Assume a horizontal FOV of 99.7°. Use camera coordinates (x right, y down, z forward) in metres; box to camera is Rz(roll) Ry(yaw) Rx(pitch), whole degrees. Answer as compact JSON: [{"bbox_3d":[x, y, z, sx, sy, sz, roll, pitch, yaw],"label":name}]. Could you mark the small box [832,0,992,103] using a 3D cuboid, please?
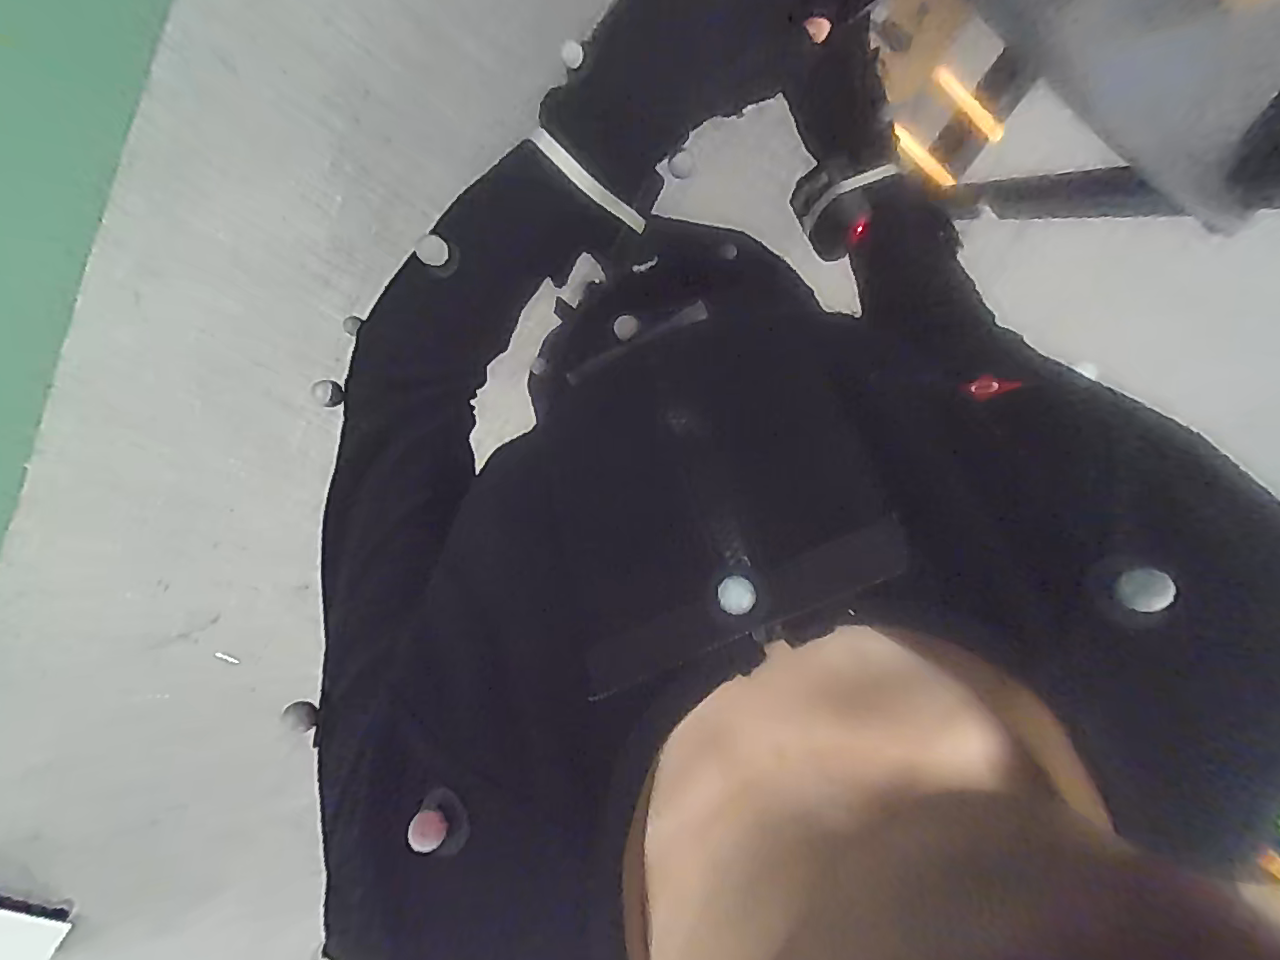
[{"bbox_3d":[0.479,-0.834,0.986,0.168,0.176,0.179,34,108,-19],"label":"small box"}]
